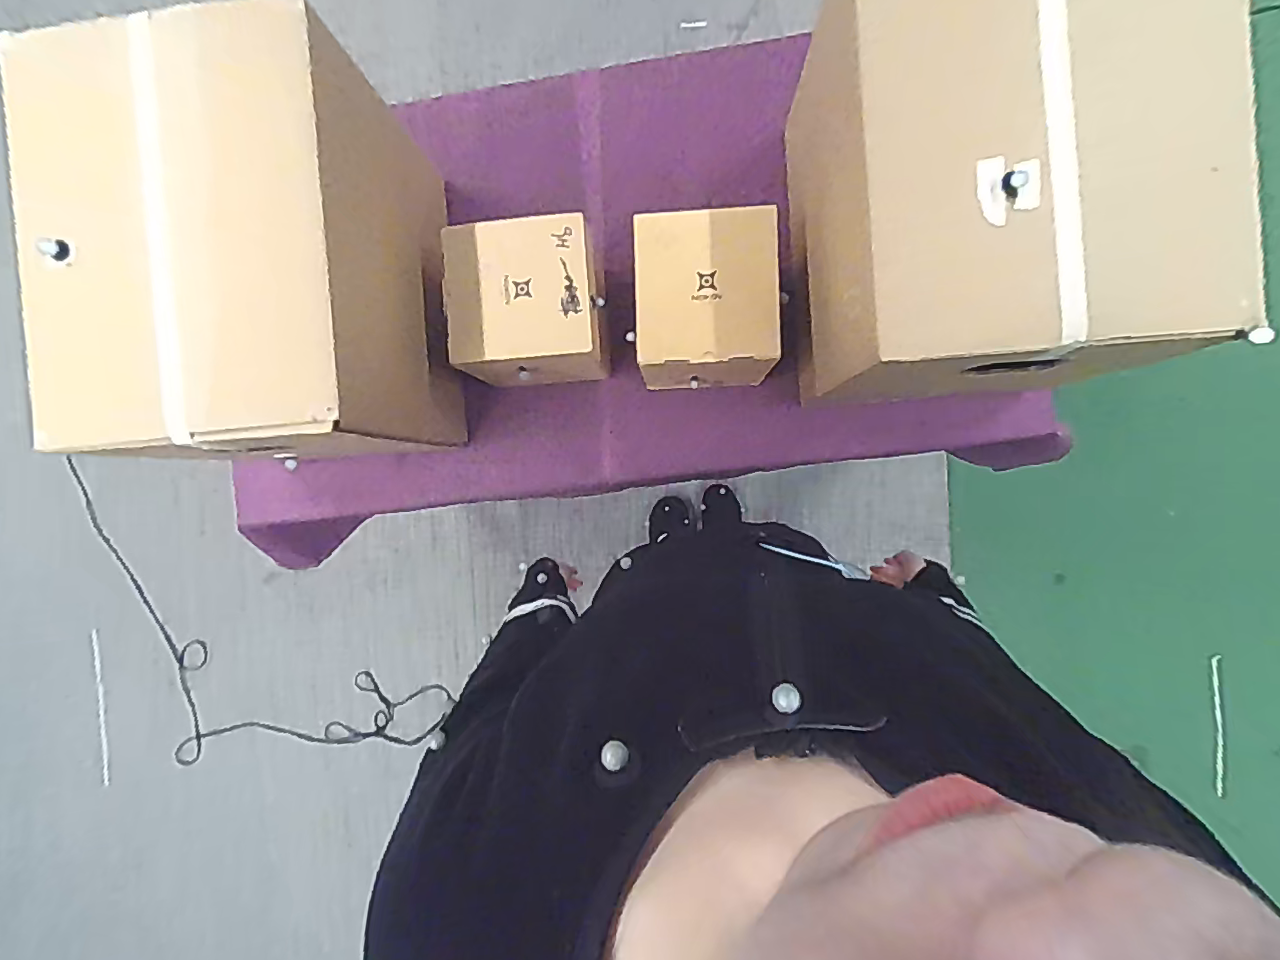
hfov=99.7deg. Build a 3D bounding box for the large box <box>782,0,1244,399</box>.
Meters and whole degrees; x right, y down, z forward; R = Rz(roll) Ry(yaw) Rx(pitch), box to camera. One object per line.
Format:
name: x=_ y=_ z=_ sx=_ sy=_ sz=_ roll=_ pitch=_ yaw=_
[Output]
large box: x=0.360 y=-0.319 z=0.618 sx=0.320 sy=0.320 sz=0.408 roll=-4 pitch=91 yaw=4
